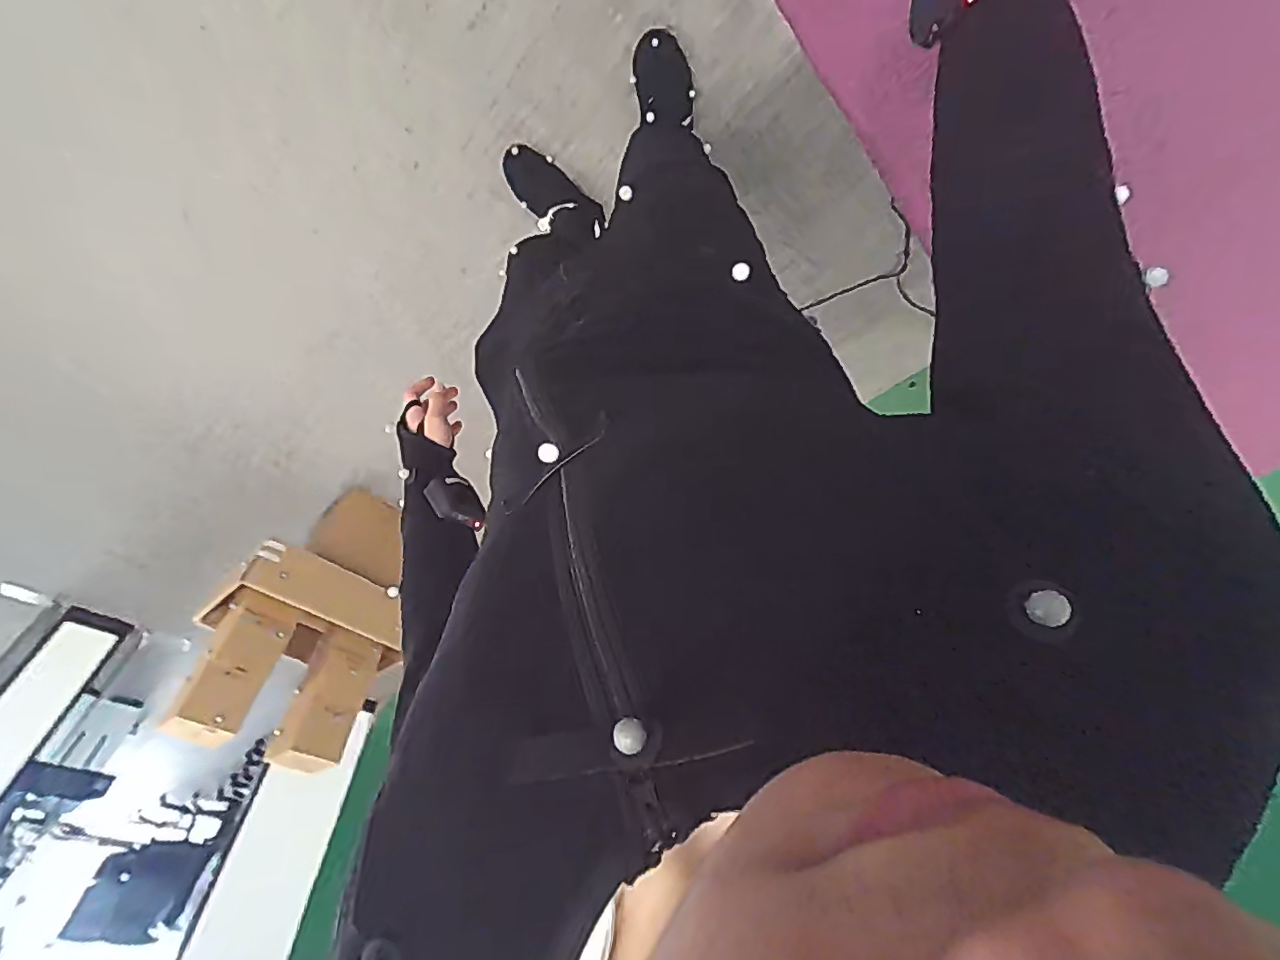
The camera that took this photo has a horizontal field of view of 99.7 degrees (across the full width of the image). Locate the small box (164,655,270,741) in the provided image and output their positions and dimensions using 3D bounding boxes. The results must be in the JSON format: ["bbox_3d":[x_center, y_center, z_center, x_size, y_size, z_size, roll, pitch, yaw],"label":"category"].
[{"bbox_3d":[-1.243,0.645,1.600,0.179,0.176,0.168,-31,126,29],"label":"small box"}]

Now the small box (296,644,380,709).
[{"bbox_3d":[-1.039,0.696,1.874,0.179,0.176,0.168,-28,129,27],"label":"small box"}]

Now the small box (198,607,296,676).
[{"bbox_3d":[-1.234,0.526,1.713,0.179,0.176,0.168,-29,127,27],"label":"small box"}]

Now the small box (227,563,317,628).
[{"bbox_3d":[-1.236,0.411,1.831,0.179,0.176,0.168,-30,126,28],"label":"small box"}]

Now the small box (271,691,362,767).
[{"bbox_3d":[-1.043,0.811,1.759,0.179,0.176,0.168,-28,129,27],"label":"small box"}]
